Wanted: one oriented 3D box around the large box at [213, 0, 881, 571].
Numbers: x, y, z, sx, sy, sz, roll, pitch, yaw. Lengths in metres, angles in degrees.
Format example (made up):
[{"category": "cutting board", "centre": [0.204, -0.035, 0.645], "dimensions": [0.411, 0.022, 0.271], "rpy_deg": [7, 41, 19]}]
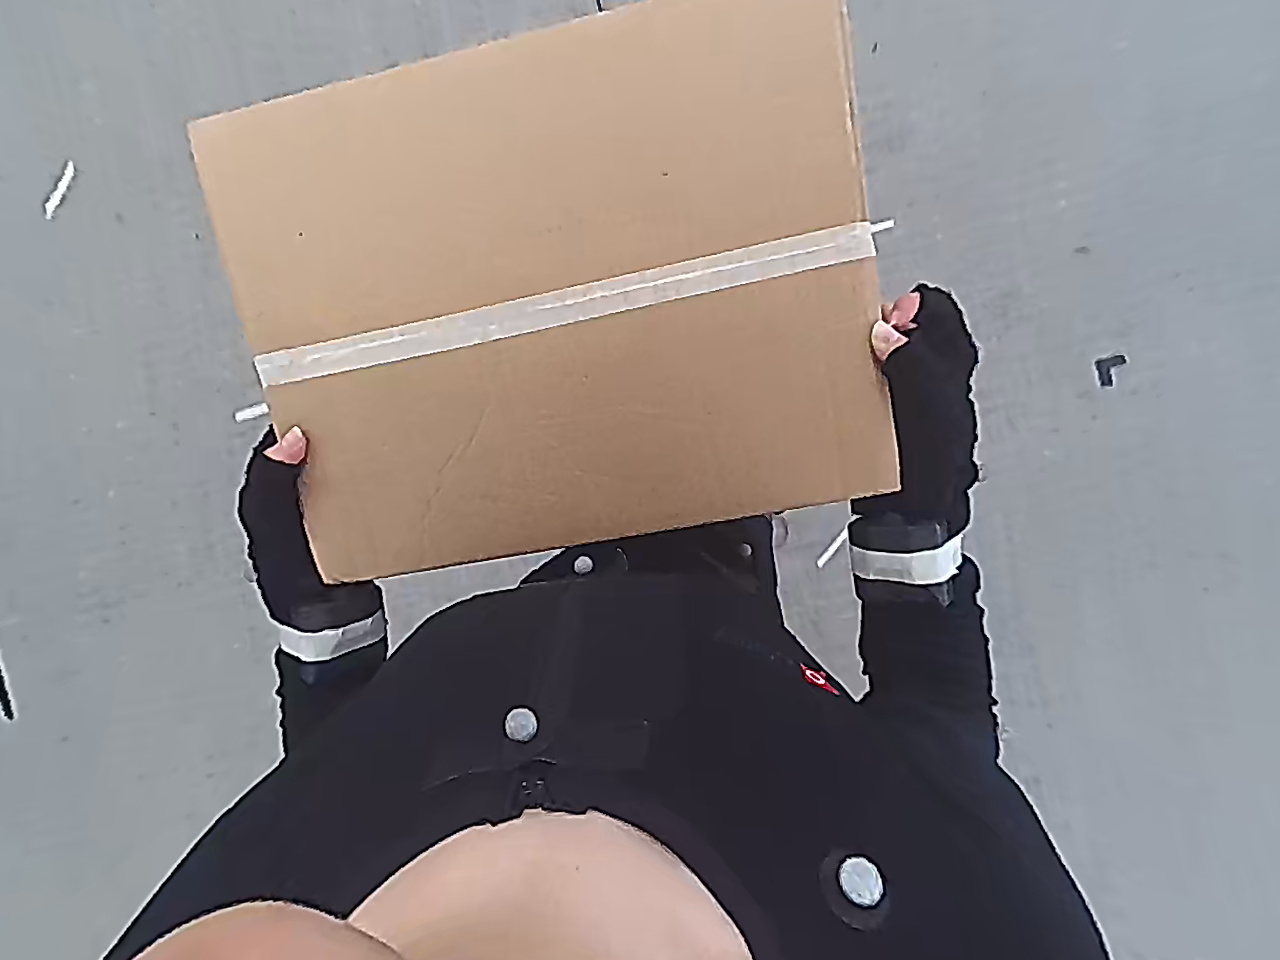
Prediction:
[{"category": "large box", "centre": [-0.048, -0.142, 0.504], "dimensions": [0.408, 0.320, 0.320], "rpy_deg": [-10, 99, 6]}]
